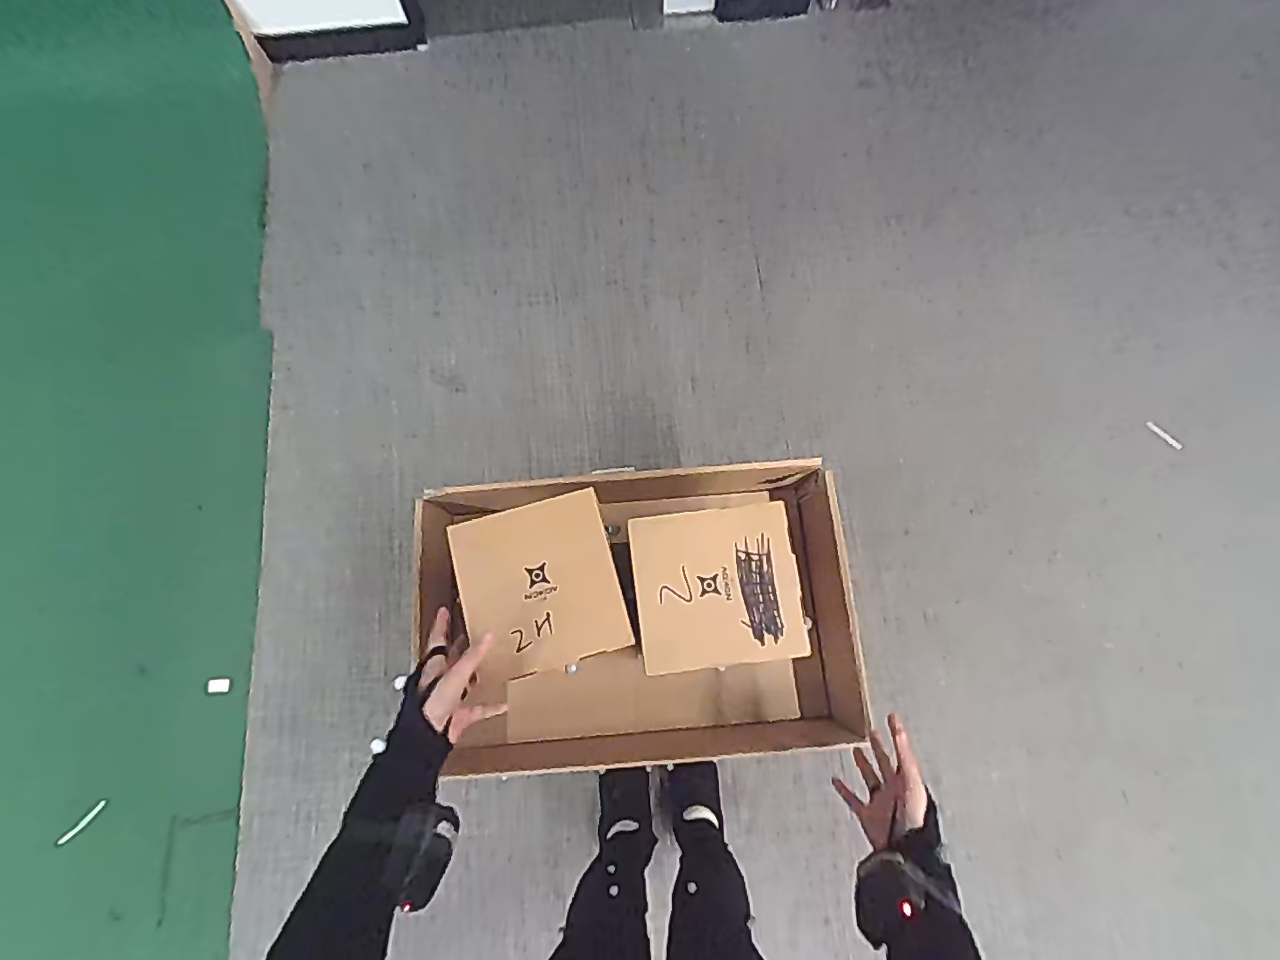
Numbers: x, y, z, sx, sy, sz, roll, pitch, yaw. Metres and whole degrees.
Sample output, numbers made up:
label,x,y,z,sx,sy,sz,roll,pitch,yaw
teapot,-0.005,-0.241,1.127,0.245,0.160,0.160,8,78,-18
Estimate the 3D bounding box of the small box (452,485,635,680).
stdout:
label,x,y,z,sx,sy,sz,roll,pitch,yaw
small box,-0.107,0.126,0.650,0.168,0.176,0.179,-15,76,-4
